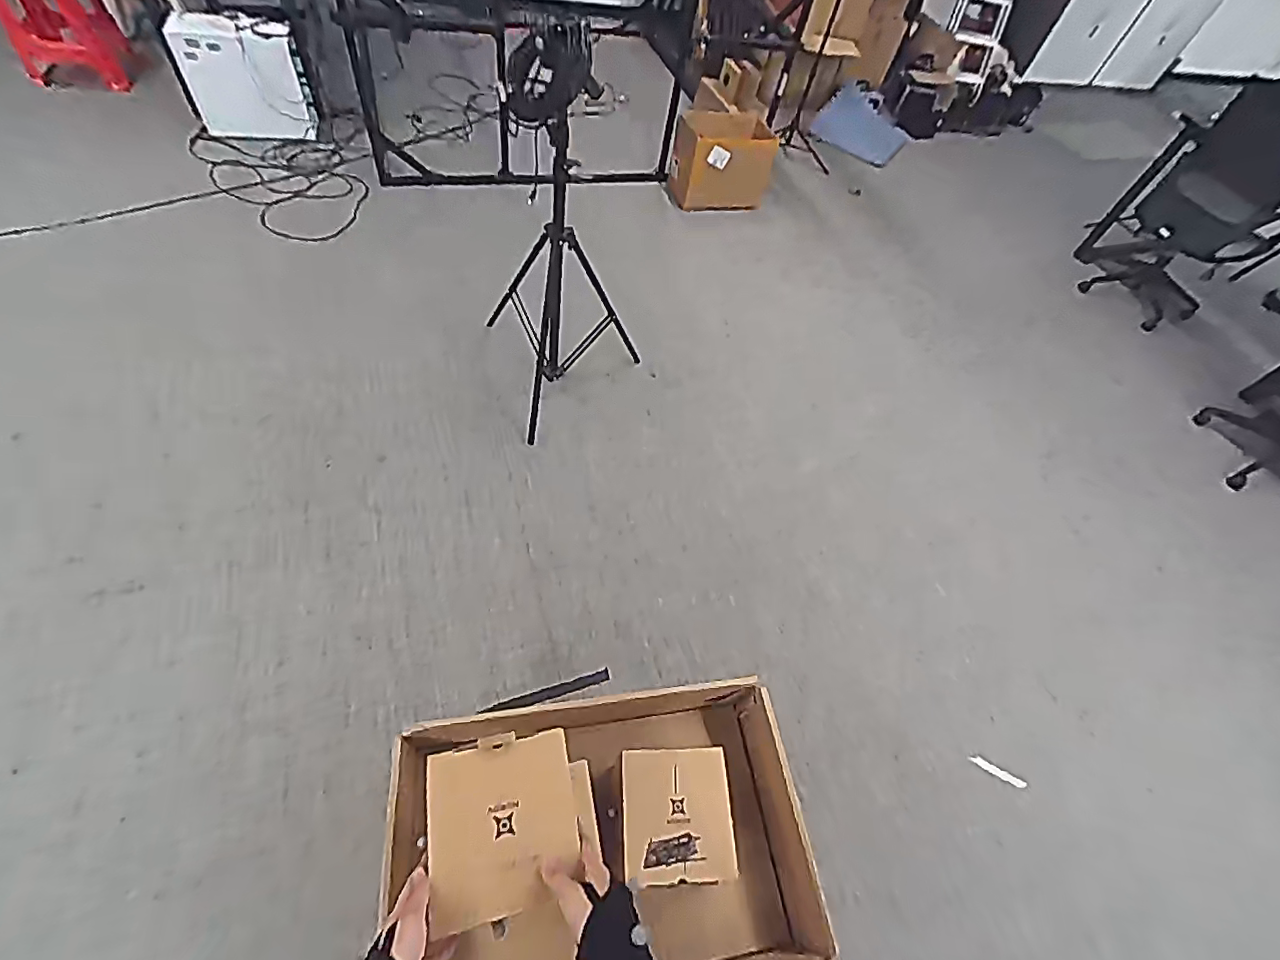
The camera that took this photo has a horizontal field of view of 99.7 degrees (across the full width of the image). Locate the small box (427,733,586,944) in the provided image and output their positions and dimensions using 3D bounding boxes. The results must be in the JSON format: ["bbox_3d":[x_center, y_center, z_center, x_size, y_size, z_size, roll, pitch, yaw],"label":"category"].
[{"bbox_3d":[-0.170,0.442,0.671,0.168,0.176,0.179,-5,53,-17],"label":"small box"}]
